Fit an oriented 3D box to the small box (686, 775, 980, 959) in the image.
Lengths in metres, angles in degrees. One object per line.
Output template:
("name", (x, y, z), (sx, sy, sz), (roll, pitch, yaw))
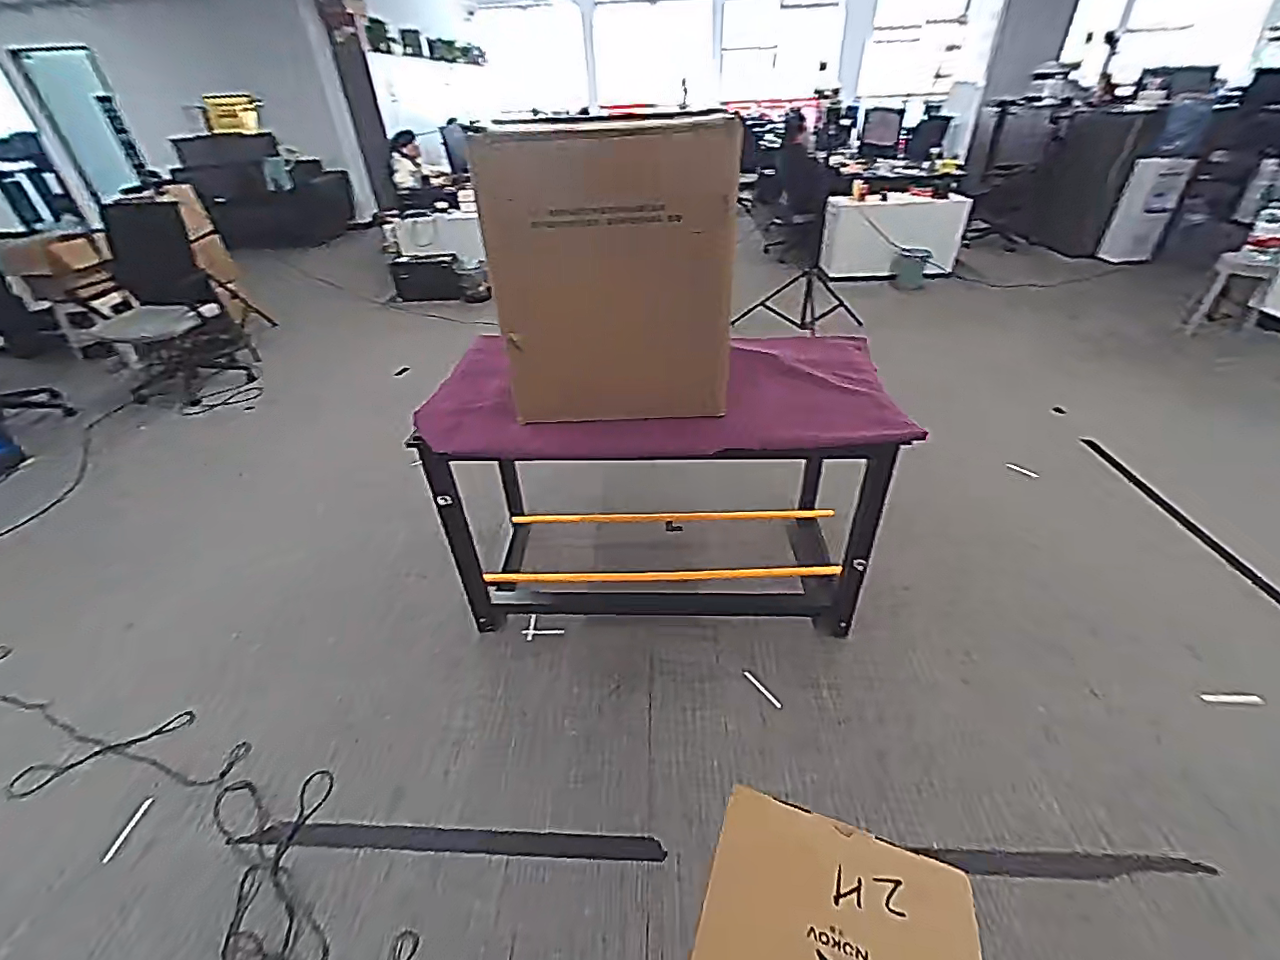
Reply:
("small box", (0.112, 0.350, 0.360), (0.168, 0.176, 0.179), (13, 30, 15))
